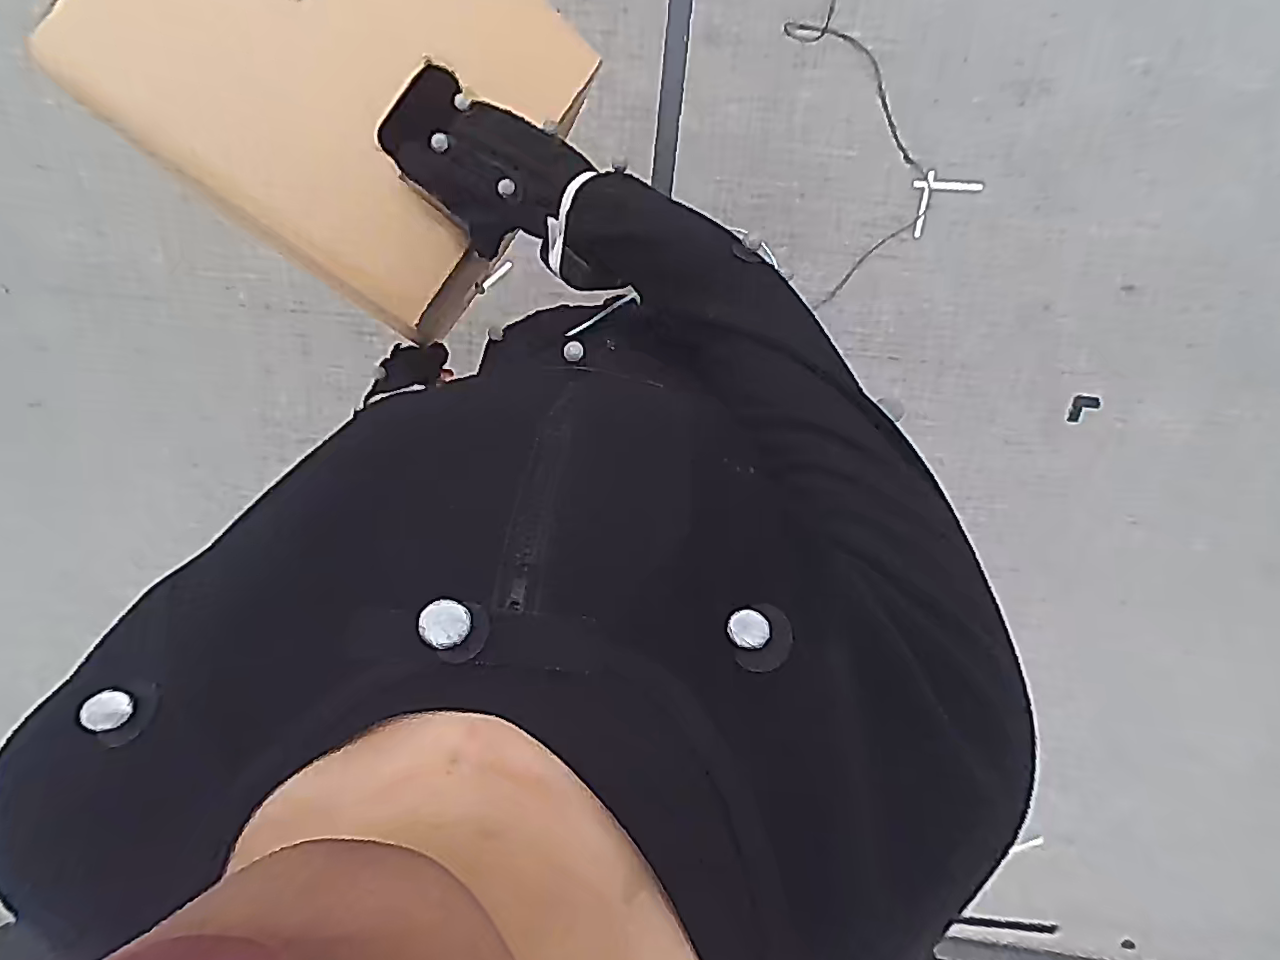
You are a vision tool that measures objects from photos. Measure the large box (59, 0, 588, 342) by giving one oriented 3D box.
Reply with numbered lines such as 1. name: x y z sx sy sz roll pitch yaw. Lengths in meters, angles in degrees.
1. large box: -0.309 -0.390 0.642 0.320 0.408 0.320 35 88 -22
